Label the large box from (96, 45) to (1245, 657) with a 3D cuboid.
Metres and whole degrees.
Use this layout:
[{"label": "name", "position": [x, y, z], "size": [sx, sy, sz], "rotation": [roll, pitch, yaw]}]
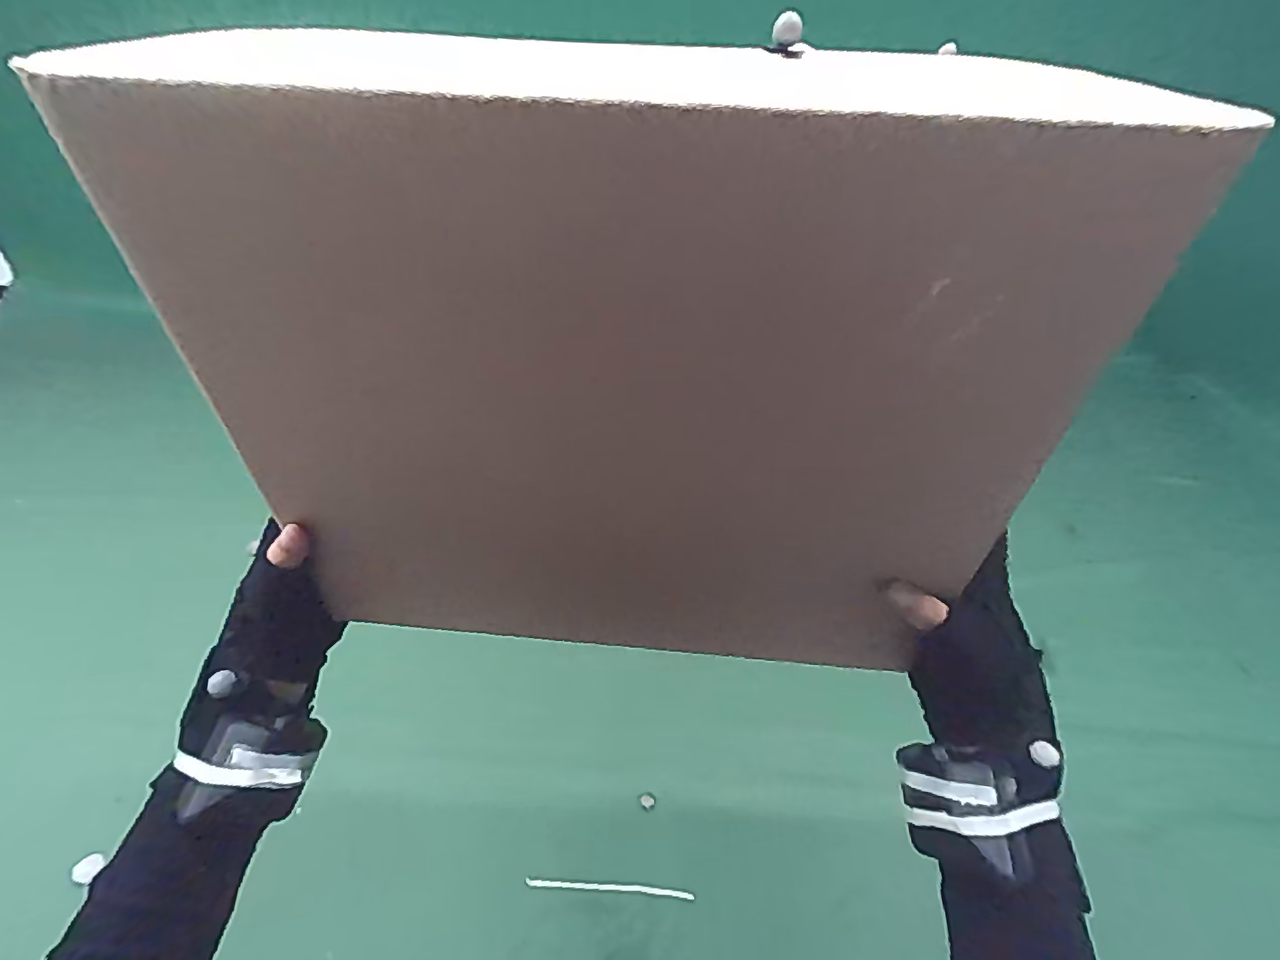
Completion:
[{"label": "large box", "position": [0.008, -0.100, 0.391], "size": [0.408, 0.320, 0.320], "rotation": [5, 41, 1]}]
